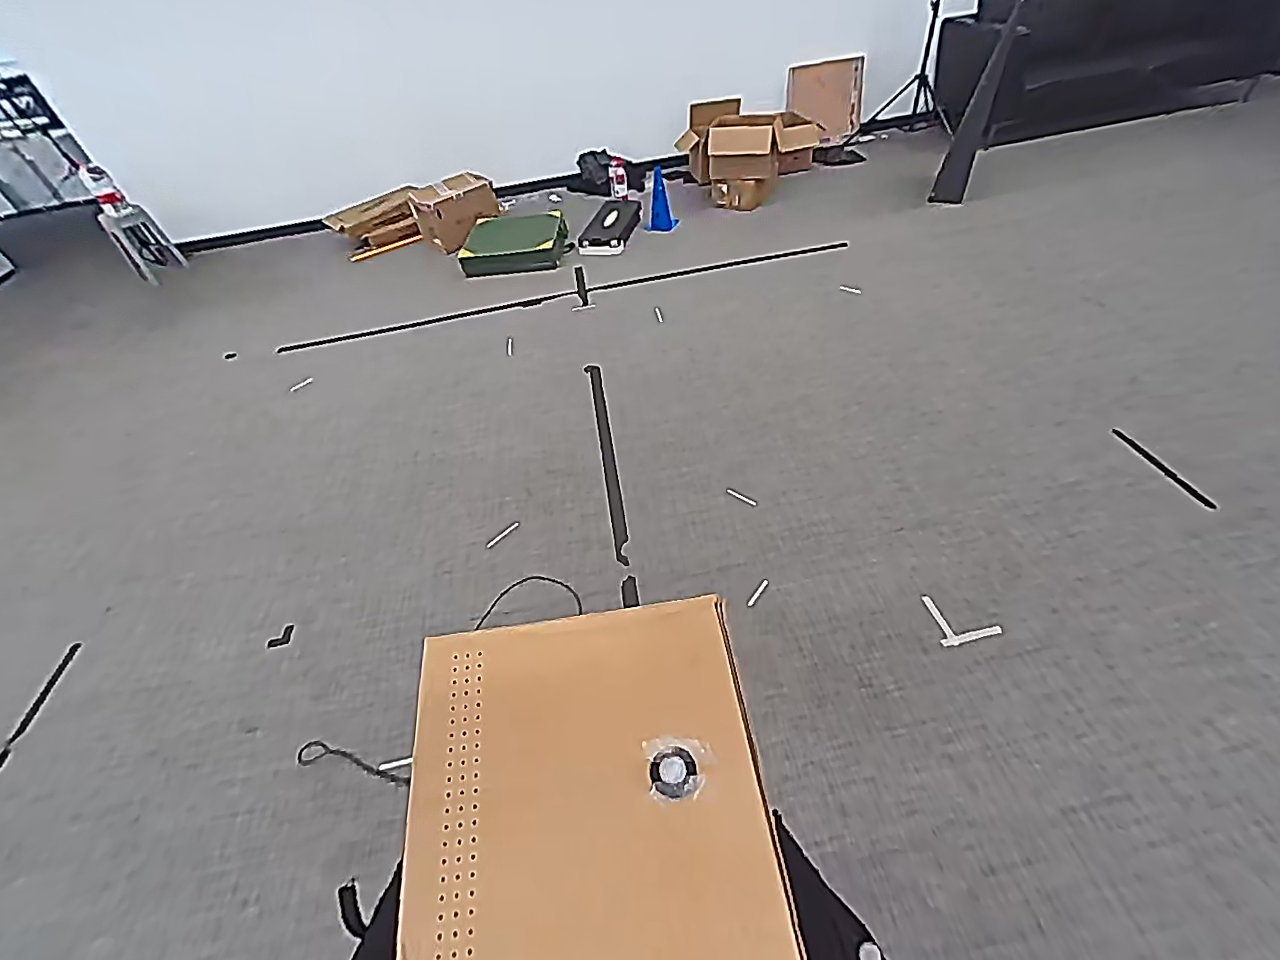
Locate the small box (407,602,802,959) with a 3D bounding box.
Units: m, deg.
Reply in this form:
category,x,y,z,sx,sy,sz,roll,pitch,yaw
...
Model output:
category,x,y,z,sx,sy,sz,roll,pitch,yaw
small box,-0.022,0.196,0.325,0.176,0.168,0.179,-9,55,0
